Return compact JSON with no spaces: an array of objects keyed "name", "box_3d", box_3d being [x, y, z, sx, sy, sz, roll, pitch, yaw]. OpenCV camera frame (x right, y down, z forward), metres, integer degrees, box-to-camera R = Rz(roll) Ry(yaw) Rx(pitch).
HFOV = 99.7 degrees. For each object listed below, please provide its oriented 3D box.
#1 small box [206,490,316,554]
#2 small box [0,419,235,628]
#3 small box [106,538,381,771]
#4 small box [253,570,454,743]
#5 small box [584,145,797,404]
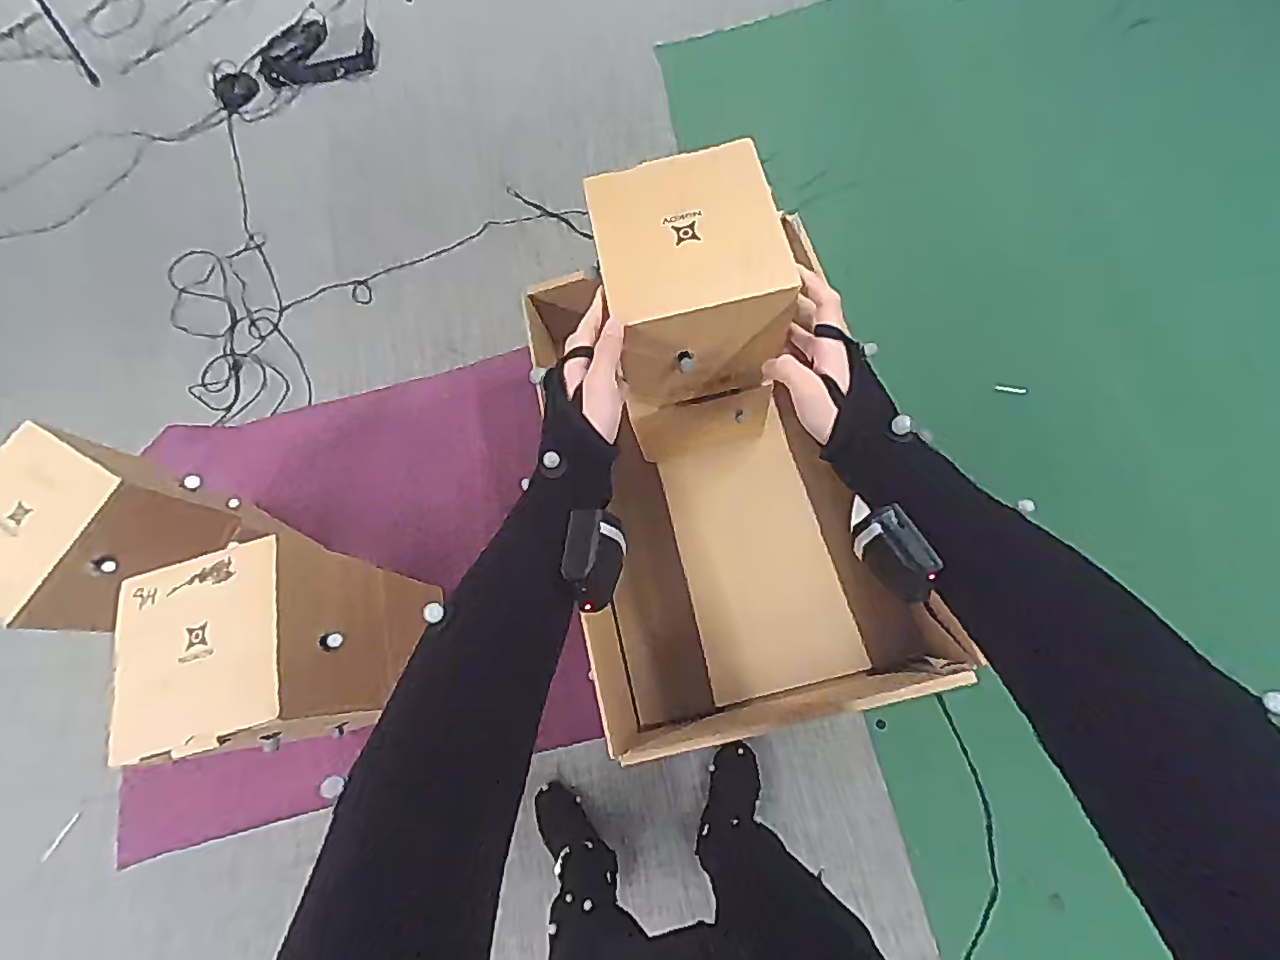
[{"name":"small box","box_3d":[-0.631,0.118,0.794,0.179,0.176,0.168,26,76,14]},{"name":"small box","box_3d":[-0.645,0.063,0.641,0.168,0.176,0.179,27,77,13]},{"name":"small box","box_3d":[-0.398,0.179,0.571,0.168,0.176,0.179,-16,70,1]},{"name":"small box","box_3d":[-0.376,0.236,0.723,0.179,0.176,0.168,-17,70,1]},{"name":"small box","box_3d":[0.050,-0.194,0.560,0.168,0.176,0.179,-12,70,2]}]
